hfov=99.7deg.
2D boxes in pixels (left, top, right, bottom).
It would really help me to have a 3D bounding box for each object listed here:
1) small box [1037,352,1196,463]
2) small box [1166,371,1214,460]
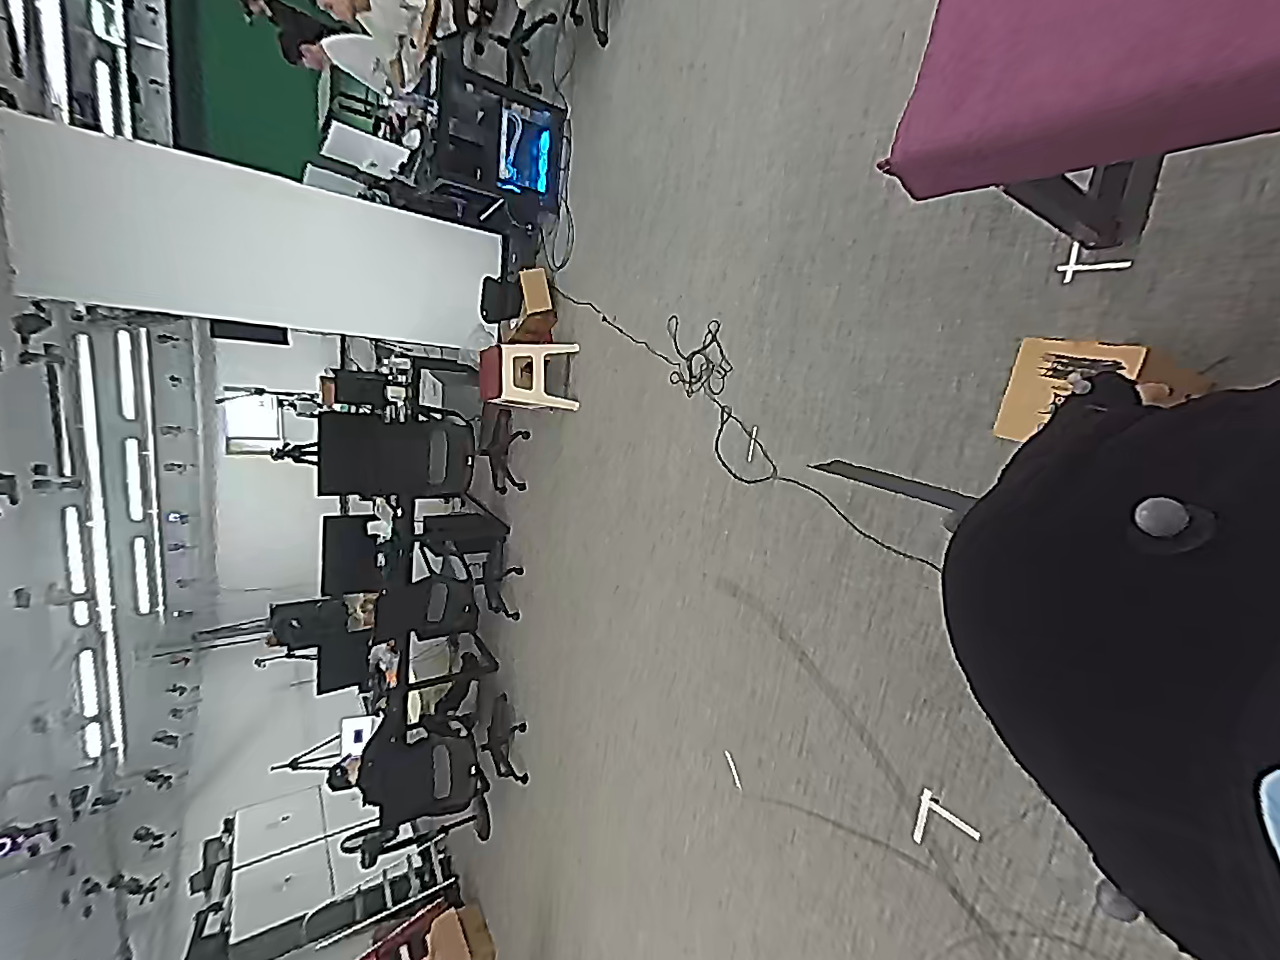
[{"bbox_3d":[0.883,-0.135,1.002,0.168,0.176,0.179,25,112,52],"label":"small box"},{"bbox_3d":[1.014,-0.144,1.103,0.168,0.176,0.179,32,117,49],"label":"small box"}]
